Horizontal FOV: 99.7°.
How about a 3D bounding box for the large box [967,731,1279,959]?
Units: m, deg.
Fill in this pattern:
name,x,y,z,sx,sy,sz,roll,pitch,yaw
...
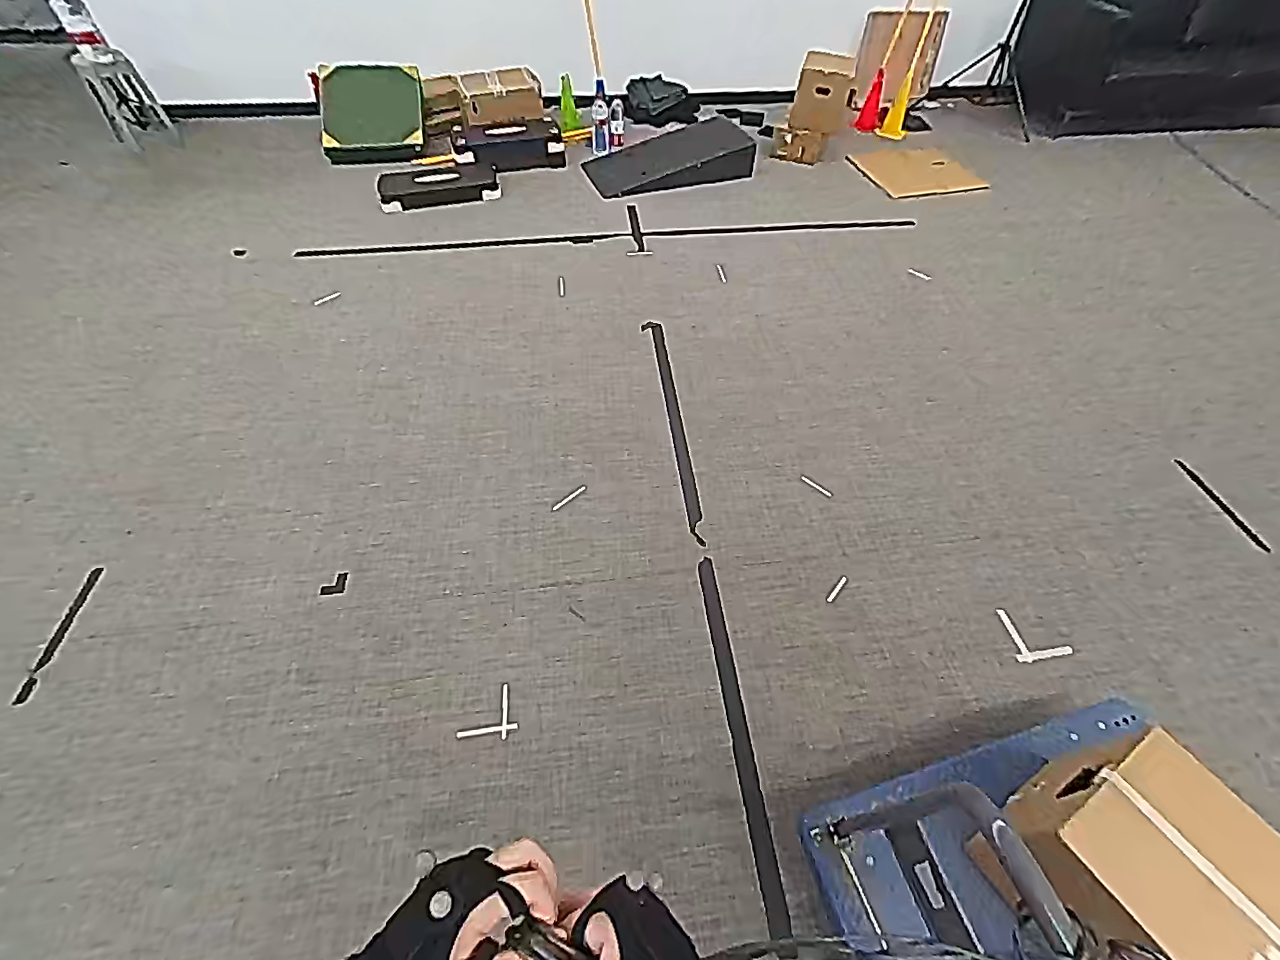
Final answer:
name,x,y,z,sx,sy,sz,roll,pitch,yaw
large box,0.886,0.727,0.924,0.320,0.320,0.408,-26,58,-20
